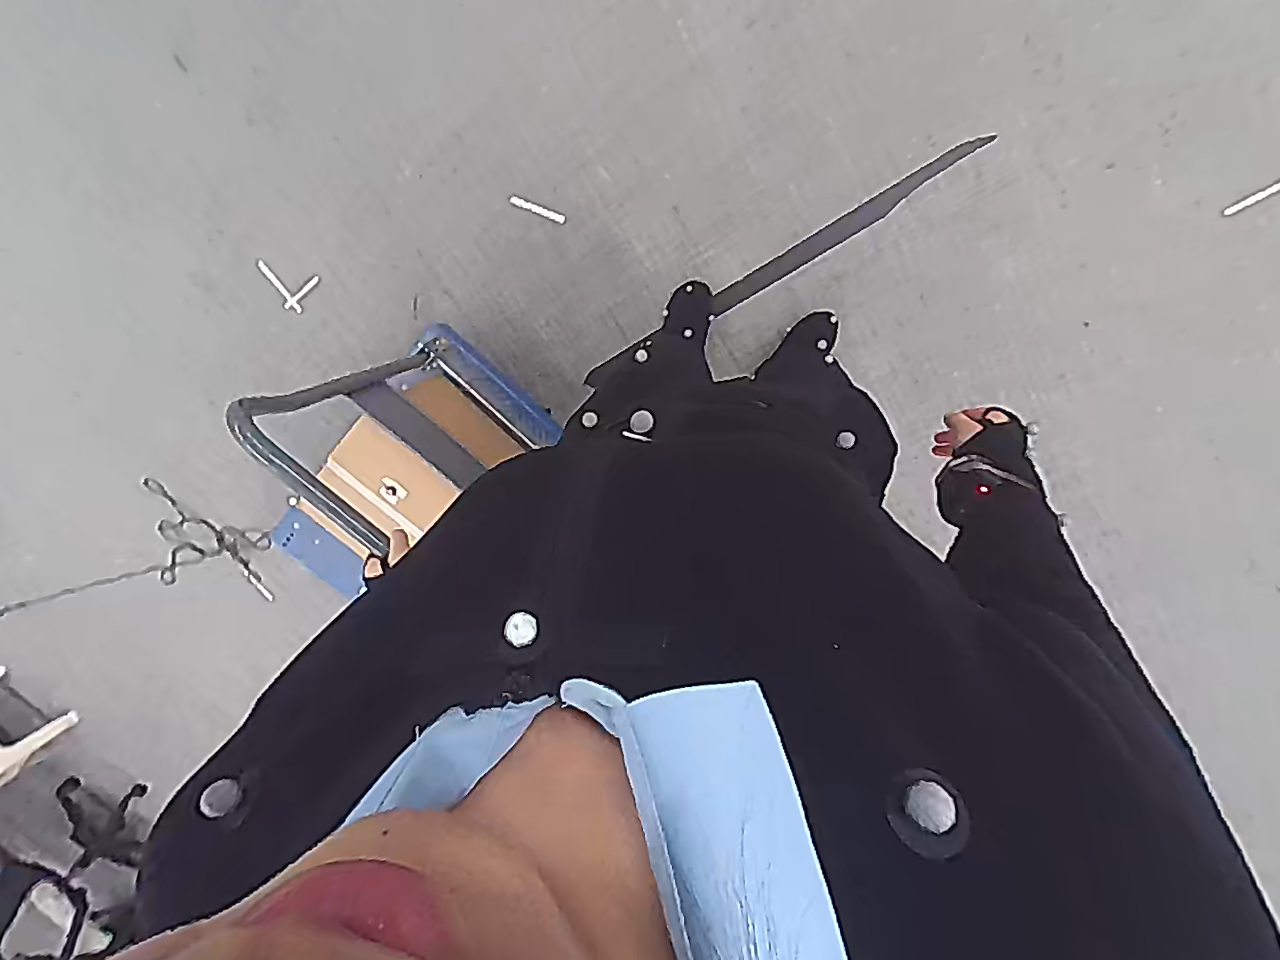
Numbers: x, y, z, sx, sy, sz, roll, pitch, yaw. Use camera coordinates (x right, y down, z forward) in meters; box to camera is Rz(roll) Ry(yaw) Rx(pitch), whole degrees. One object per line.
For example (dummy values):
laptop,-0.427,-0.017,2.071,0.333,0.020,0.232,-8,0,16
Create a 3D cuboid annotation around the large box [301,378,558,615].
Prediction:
large box,-0.470,0.029,1.285,0.408,0.320,0.320,44,111,-11
